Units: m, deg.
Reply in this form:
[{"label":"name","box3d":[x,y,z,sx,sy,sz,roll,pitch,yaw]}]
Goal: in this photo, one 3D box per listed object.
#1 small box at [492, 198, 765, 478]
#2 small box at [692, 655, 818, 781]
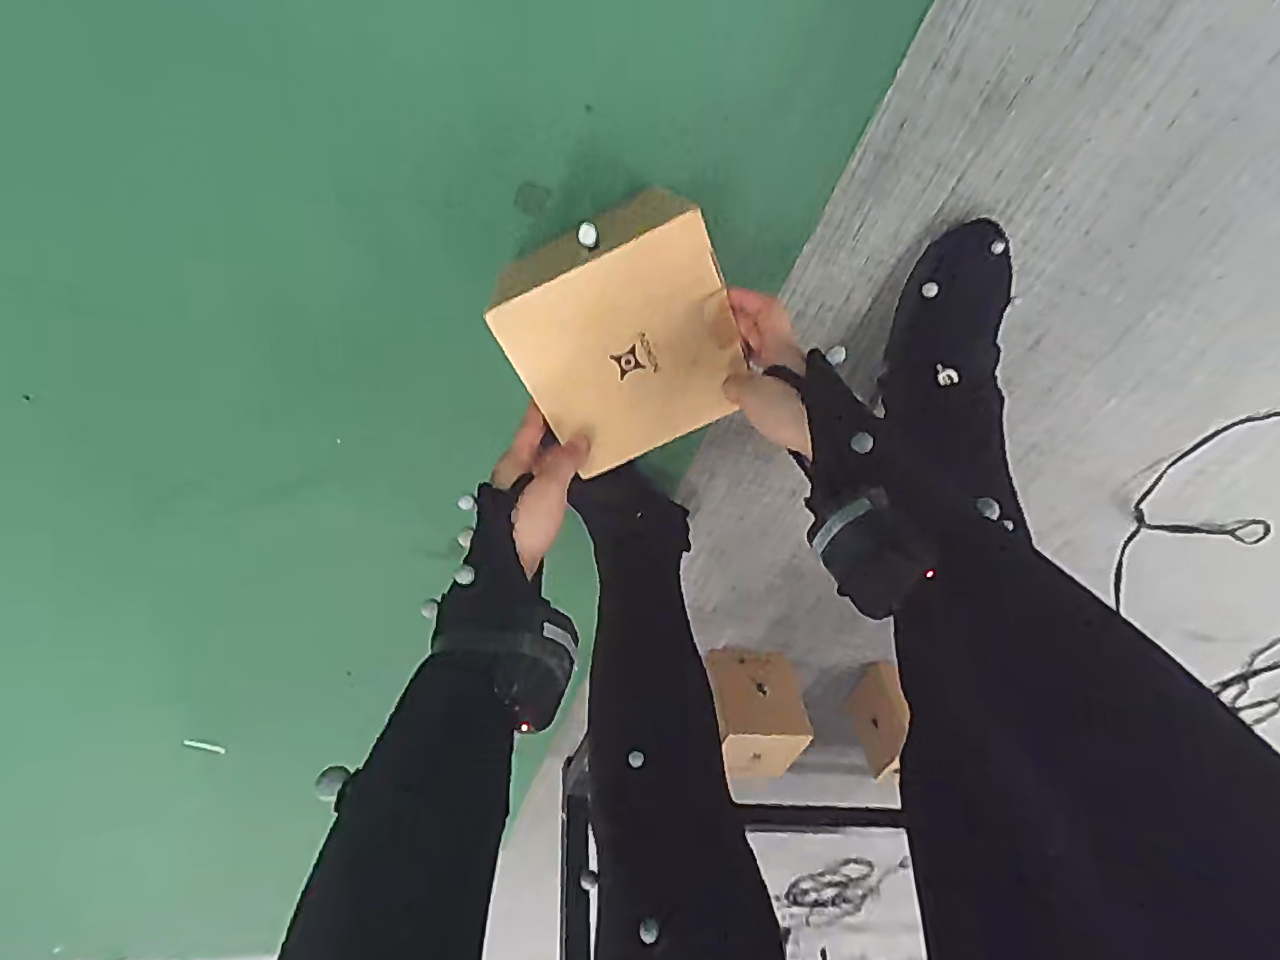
[{"label":"small box","box3d":[-0.012,-0.136,0.498,0.179,0.176,0.168,-25,123,5]},{"label":"small box","box3d":[0.209,0.458,1.046,0.168,0.176,0.179,7,128,-12]}]
